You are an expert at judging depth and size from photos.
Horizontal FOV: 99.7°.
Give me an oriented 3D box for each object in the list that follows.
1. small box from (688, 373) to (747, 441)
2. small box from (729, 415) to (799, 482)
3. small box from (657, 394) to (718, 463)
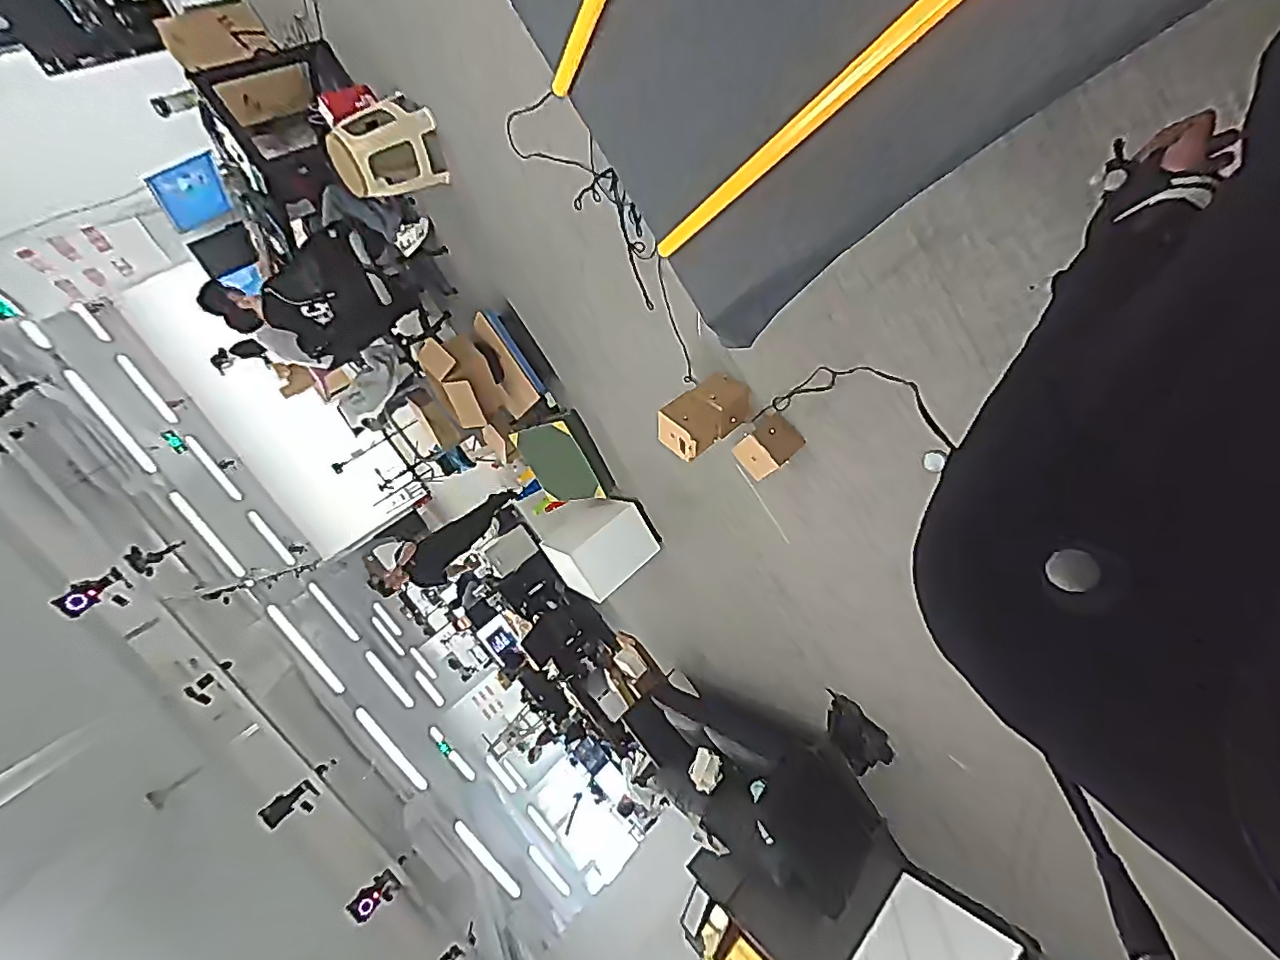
[{"bbox_3d":[0.310,-0.295,2.164,0.168,0.176,0.179,37,151,32],"label":"small box"},{"bbox_3d":[0.486,-0.123,2.096,0.168,0.176,0.179,51,156,5],"label":"small box"},{"bbox_3d":[0.184,-0.206,2.104,0.179,0.176,0.168,40,152,27],"label":"small box"}]
